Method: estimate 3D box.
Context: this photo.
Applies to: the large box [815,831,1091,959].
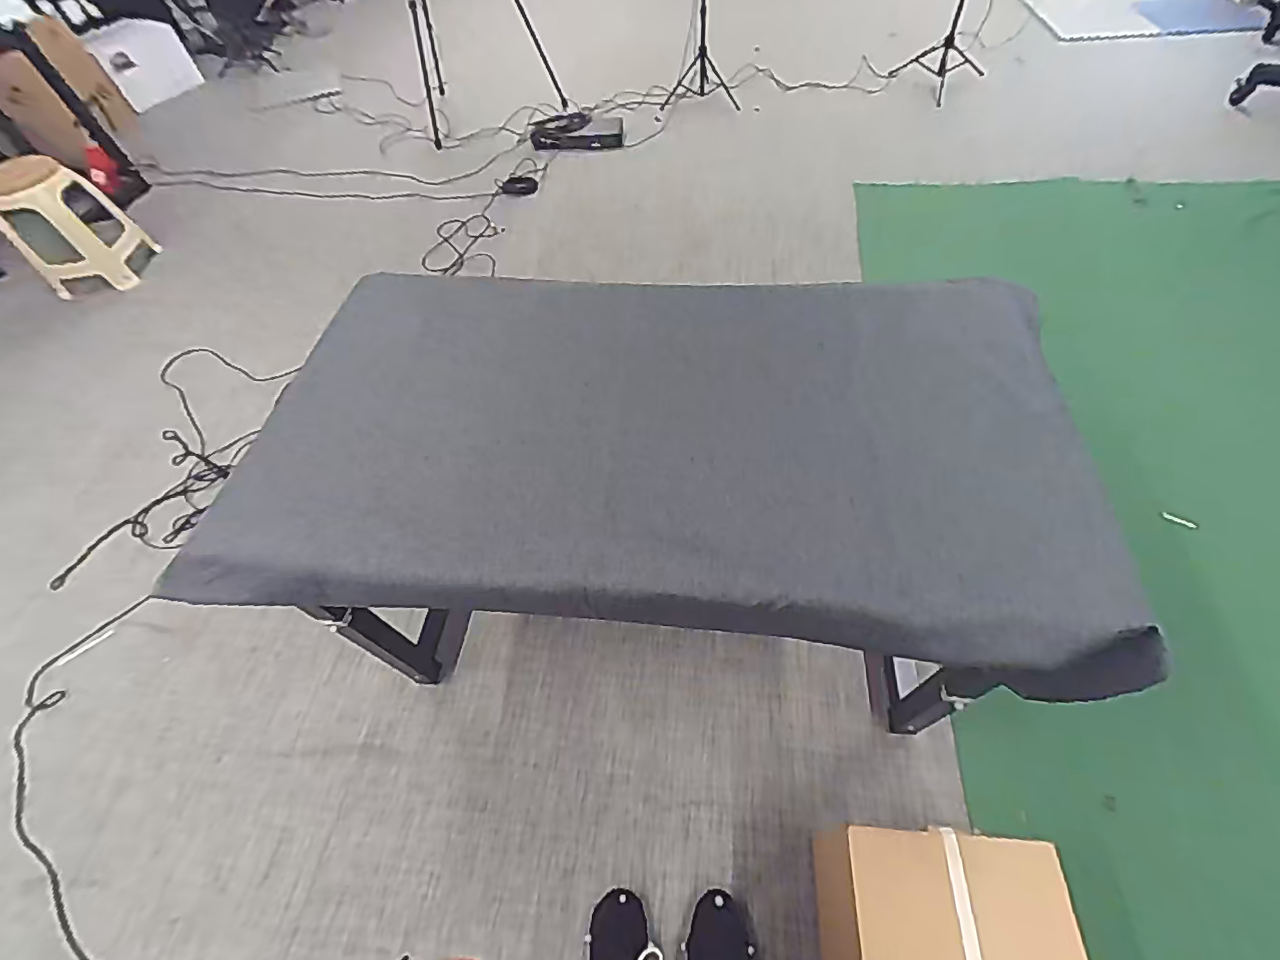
[{"bbox_3d":[0.484,0.805,0.856,0.320,0.320,0.408,1,55,6],"label":"large box"}]
